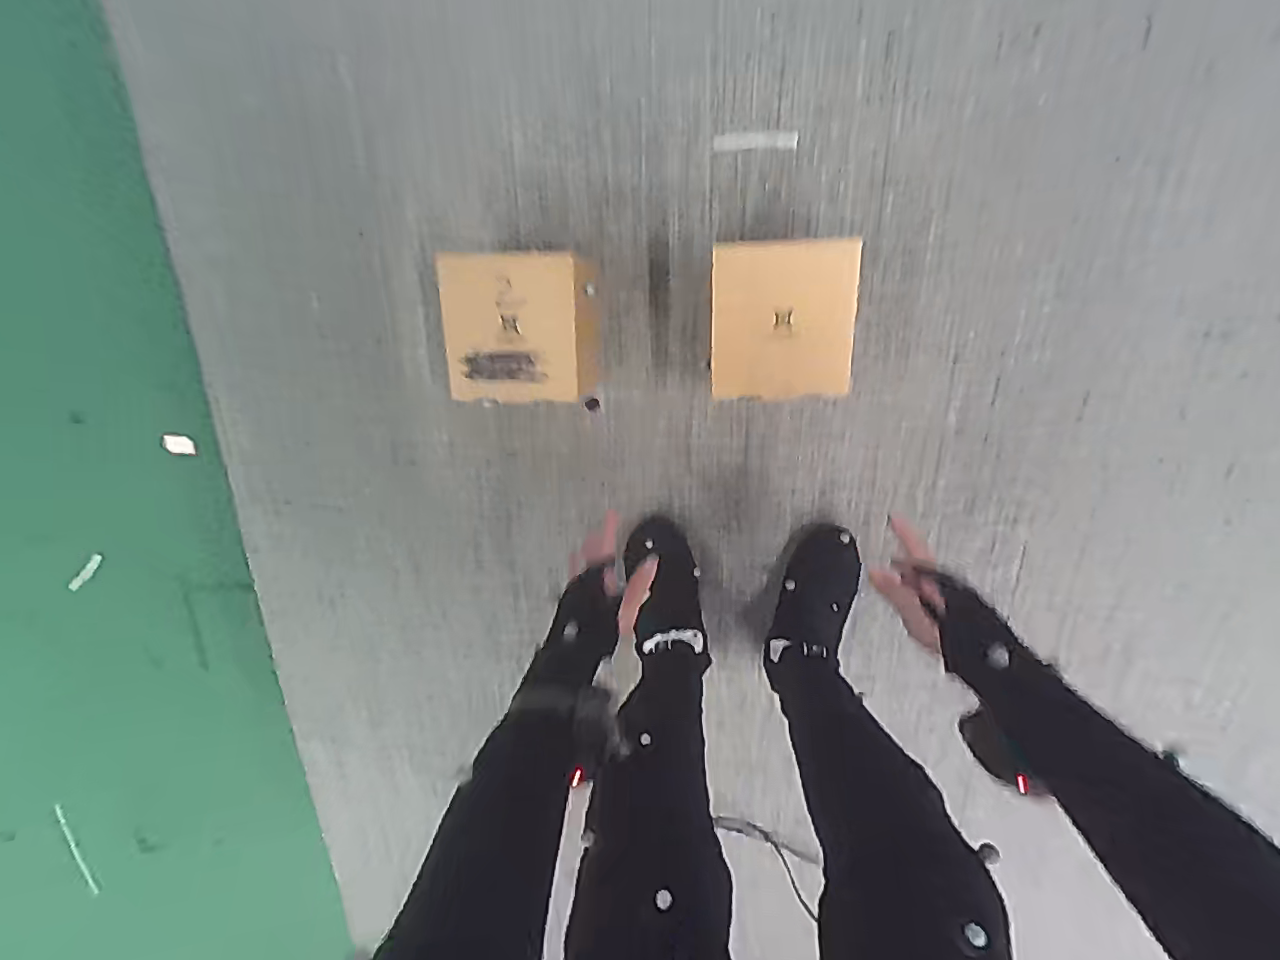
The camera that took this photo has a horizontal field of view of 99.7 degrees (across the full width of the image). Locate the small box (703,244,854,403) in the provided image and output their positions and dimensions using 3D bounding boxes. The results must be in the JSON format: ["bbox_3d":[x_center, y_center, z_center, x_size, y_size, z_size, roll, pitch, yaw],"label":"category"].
[{"bbox_3d":[0.168,-0.204,0.708,0.168,0.176,0.179,-1,110,7],"label":"small box"}]
